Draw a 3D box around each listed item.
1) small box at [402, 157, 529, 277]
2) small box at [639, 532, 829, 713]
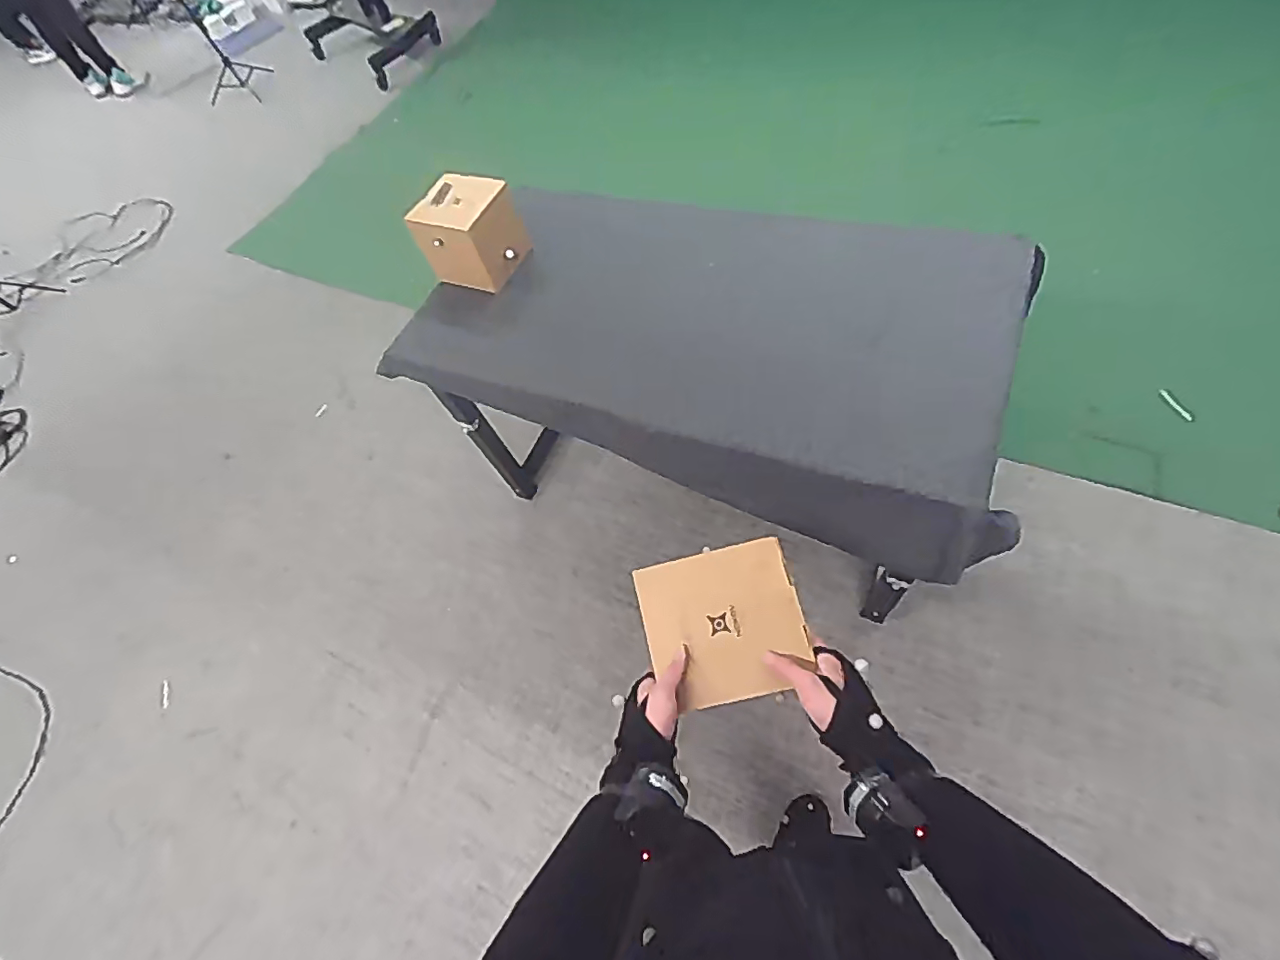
[{"bbox_3d":[-0.379,-0.580,1.203,0.179,0.176,0.168,19,67,18],"label":"small box"},{"bbox_3d":[0.110,0.177,0.670,0.179,0.176,0.168,-16,69,5],"label":"small box"}]
